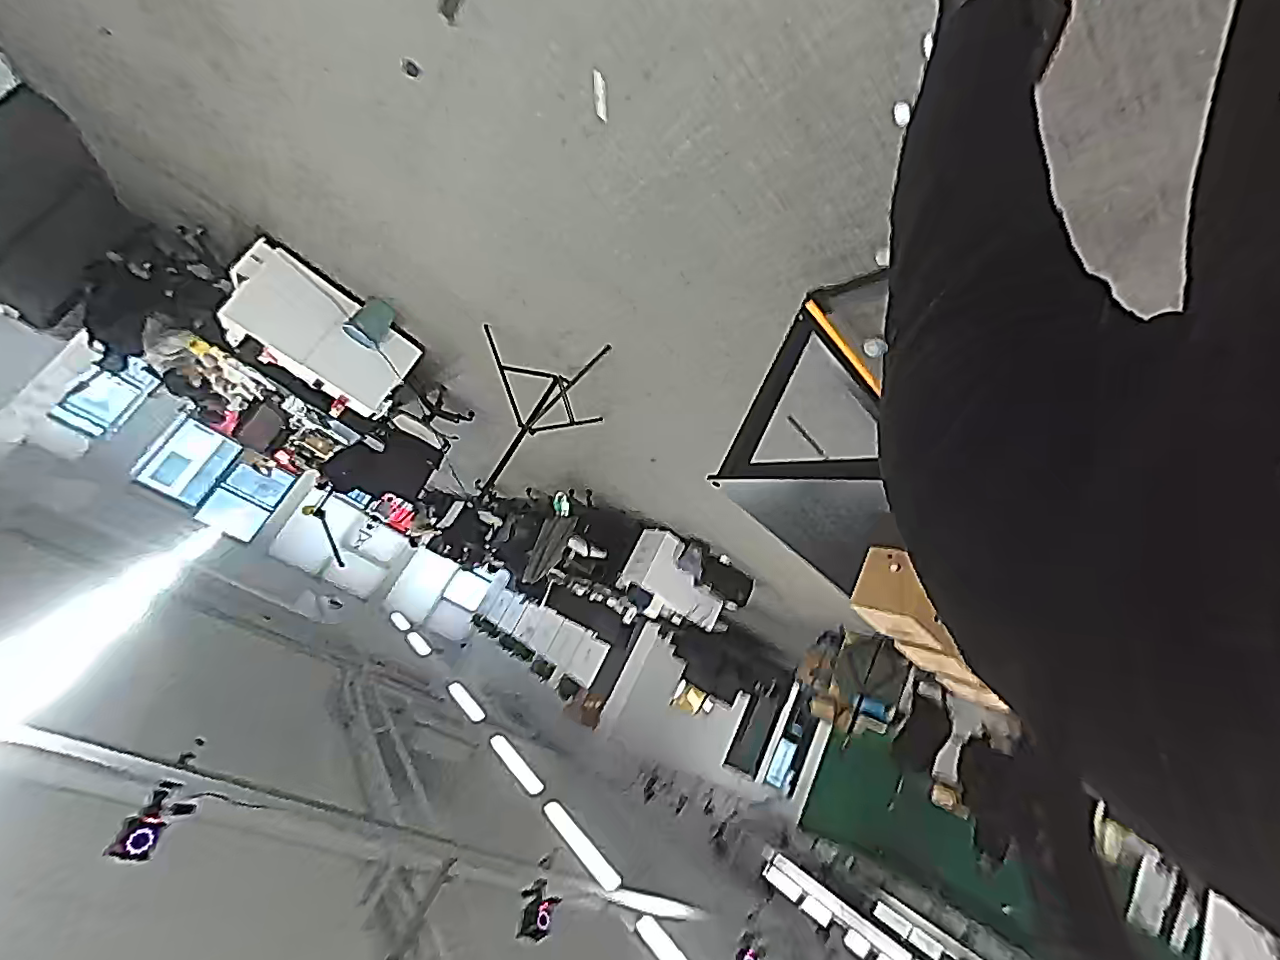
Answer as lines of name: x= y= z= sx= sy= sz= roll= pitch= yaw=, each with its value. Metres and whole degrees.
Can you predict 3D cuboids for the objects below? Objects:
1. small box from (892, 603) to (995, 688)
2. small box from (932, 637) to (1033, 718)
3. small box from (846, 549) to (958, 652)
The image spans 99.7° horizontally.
small box: x=0.816 y=0.424 z=1.449 sx=0.179 sy=0.176 sz=0.168 roll=38 pitch=161 yaw=-29
small box: x=0.977 y=0.542 z=1.540 sx=0.168 sy=0.176 sz=0.179 roll=36 pitch=160 yaw=-27
small box: x=0.650 y=0.291 z=1.333 sx=0.179 sy=0.176 sz=0.168 roll=39 pitch=160 yaw=-28
